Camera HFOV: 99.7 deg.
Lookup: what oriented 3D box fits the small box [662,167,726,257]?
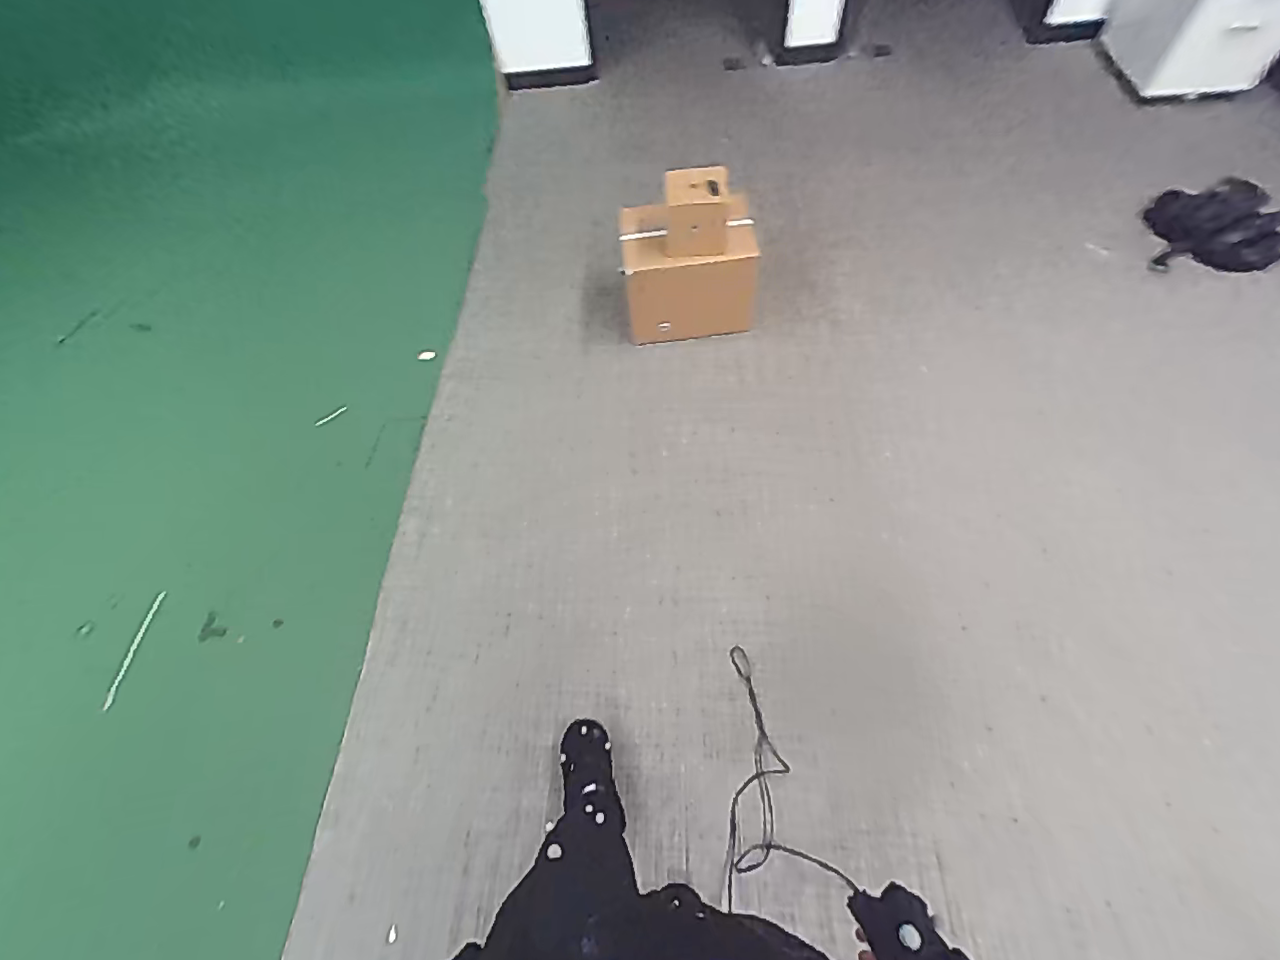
[{"bbox_3d":[0.154,-0.775,1.572,0.179,0.176,0.168,-2,61,5],"label":"small box"}]
